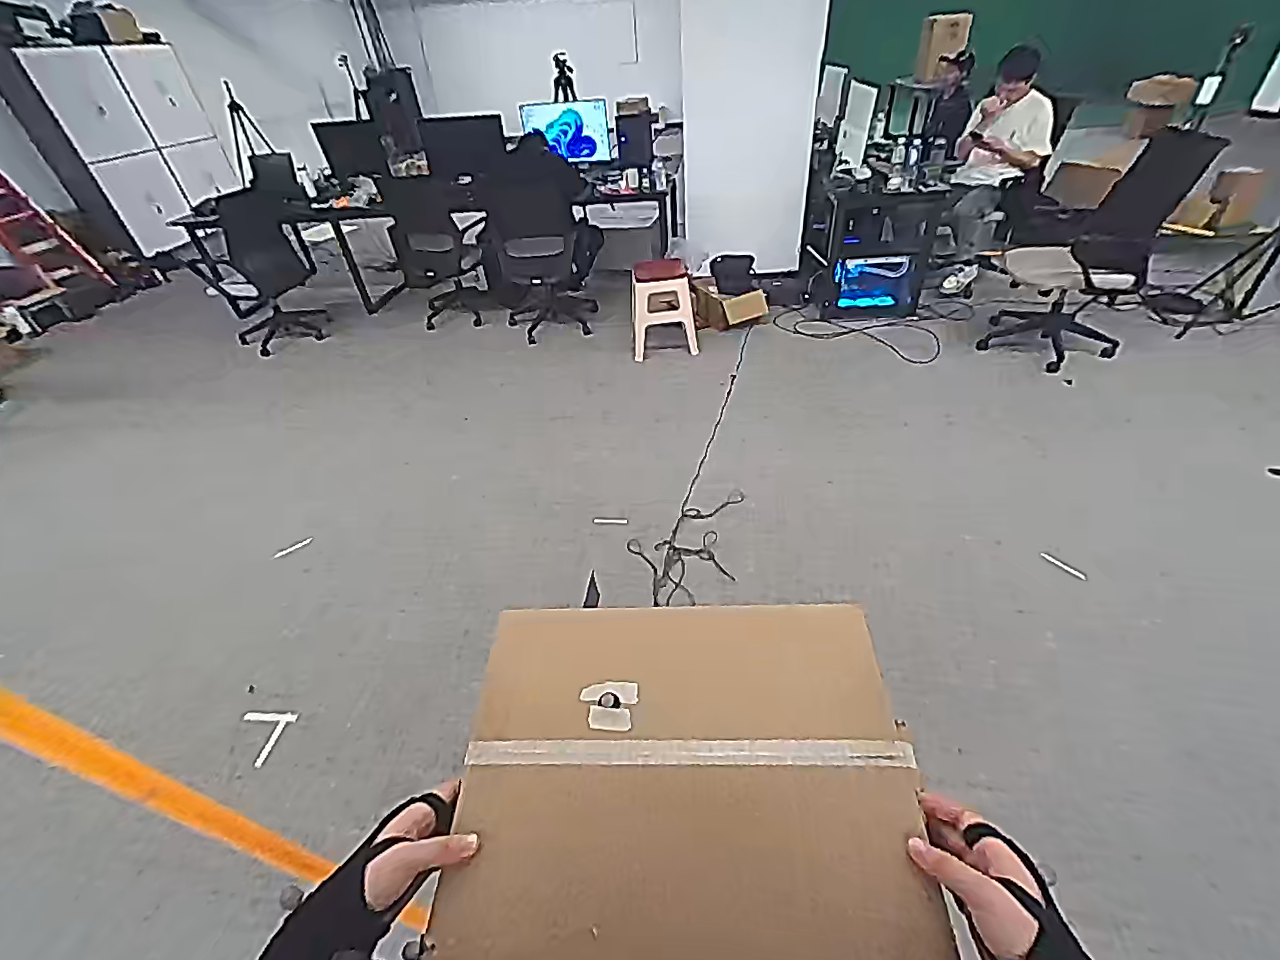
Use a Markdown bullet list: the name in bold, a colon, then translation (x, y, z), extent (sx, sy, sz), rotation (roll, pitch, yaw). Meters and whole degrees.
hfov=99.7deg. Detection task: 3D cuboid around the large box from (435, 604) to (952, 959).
- **large box**: translation (0.055, 0.364, 0.619), extent (0.408, 0.320, 0.320), rotation (-4, 44, 6)
